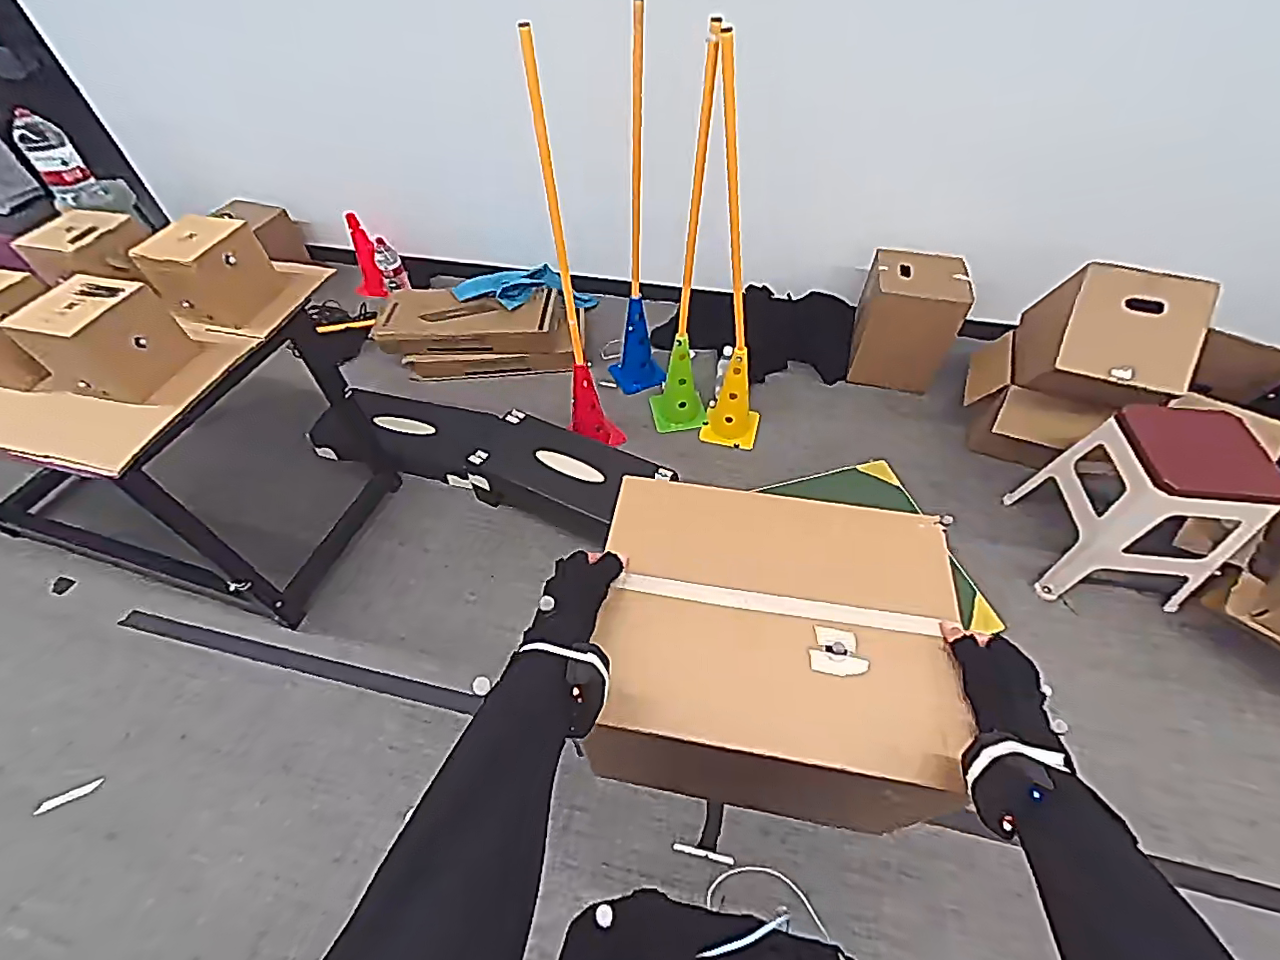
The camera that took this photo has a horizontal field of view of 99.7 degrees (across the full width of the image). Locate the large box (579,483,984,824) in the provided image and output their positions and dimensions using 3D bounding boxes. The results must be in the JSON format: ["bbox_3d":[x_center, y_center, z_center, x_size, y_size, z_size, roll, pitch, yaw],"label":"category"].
[{"bbox_3d":[0.157,0.237,0.736,0.408,0.320,0.320,8,53,7],"label":"large box"}]
